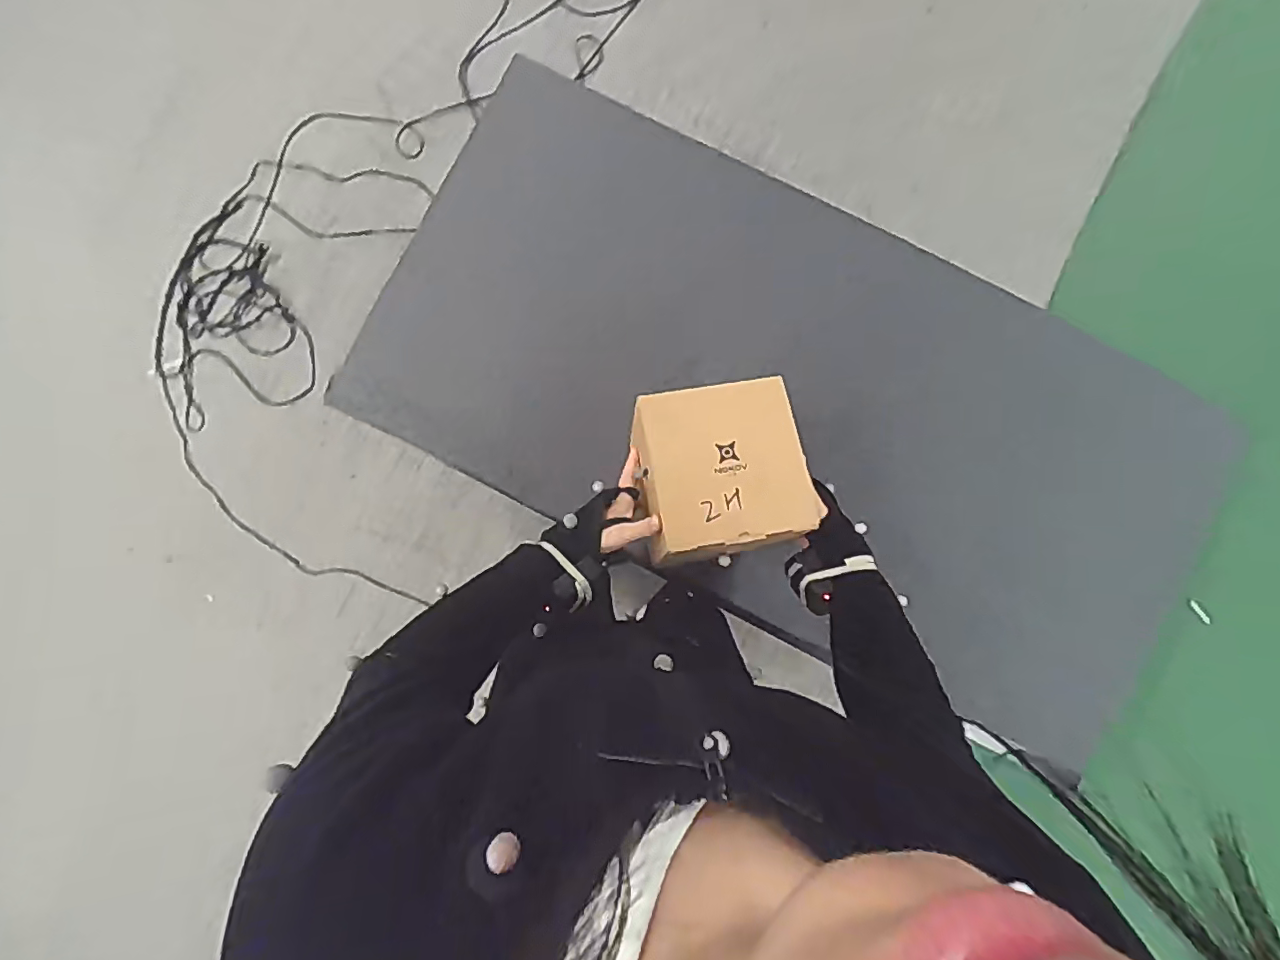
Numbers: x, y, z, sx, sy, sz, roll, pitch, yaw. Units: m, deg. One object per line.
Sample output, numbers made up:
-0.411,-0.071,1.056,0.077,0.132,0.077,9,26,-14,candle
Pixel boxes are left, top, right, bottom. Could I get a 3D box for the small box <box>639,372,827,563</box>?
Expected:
0.094,-0.006,0.641,0.168,0.176,0.179,-9,77,-5,small box
